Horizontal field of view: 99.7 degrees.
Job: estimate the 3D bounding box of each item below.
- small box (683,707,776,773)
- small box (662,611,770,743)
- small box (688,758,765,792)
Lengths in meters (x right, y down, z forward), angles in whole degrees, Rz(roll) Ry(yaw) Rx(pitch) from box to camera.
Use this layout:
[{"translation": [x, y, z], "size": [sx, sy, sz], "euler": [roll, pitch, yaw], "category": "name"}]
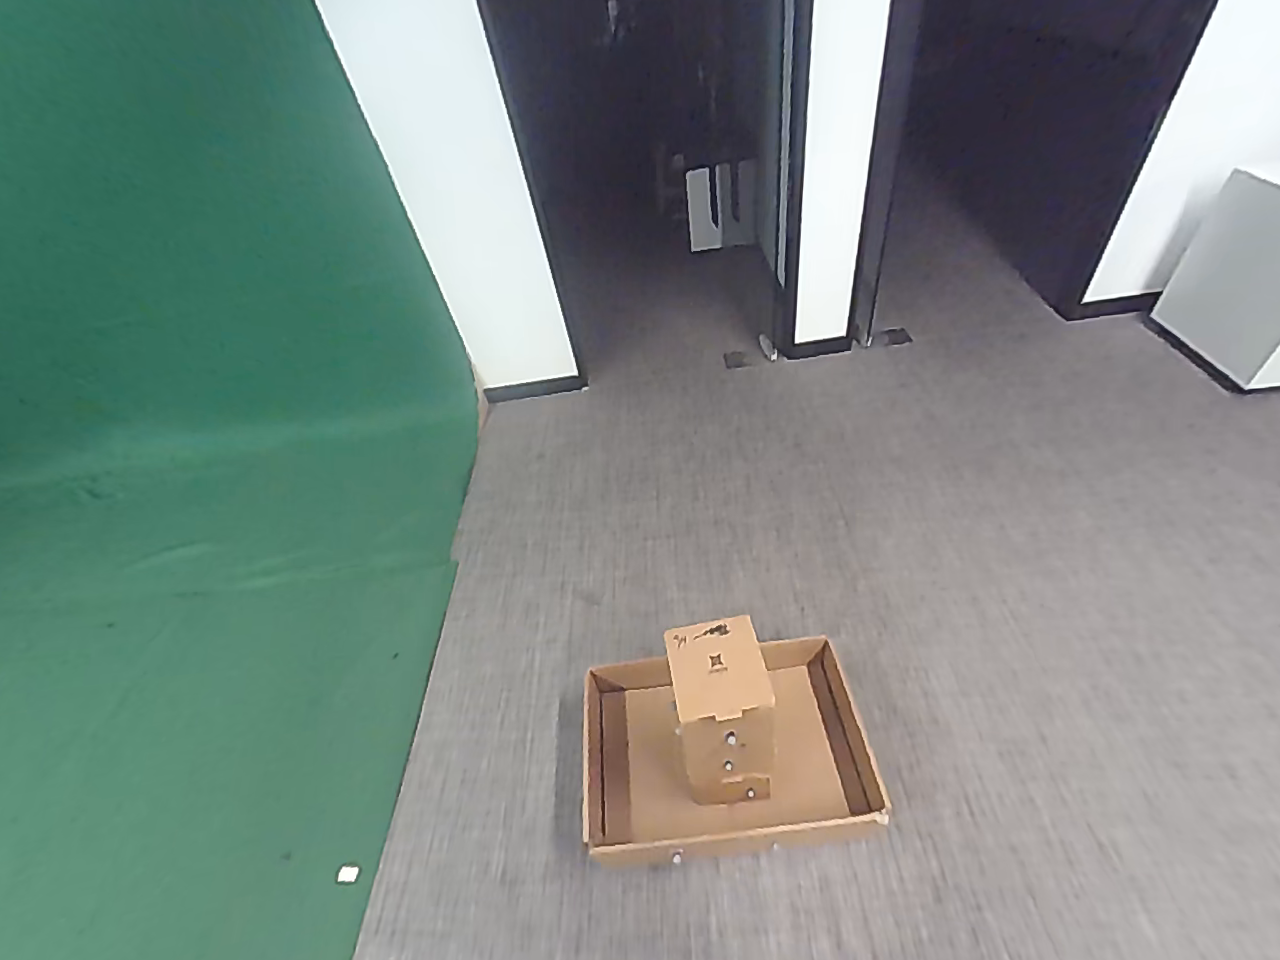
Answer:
[{"translation": [0.171, 0.490, 1.128], "size": [0.179, 0.176, 0.168], "euler": [-10, 45, 0], "category": "small box"}, {"translation": [0.142, 0.375, 1.015], "size": [0.168, 0.176, 0.179], "euler": [-11, 45, 2], "category": "small box"}, {"translation": [0.193, 0.602, 1.245], "size": [0.168, 0.176, 0.179], "euler": [-8, 44, 4], "category": "small box"}]
